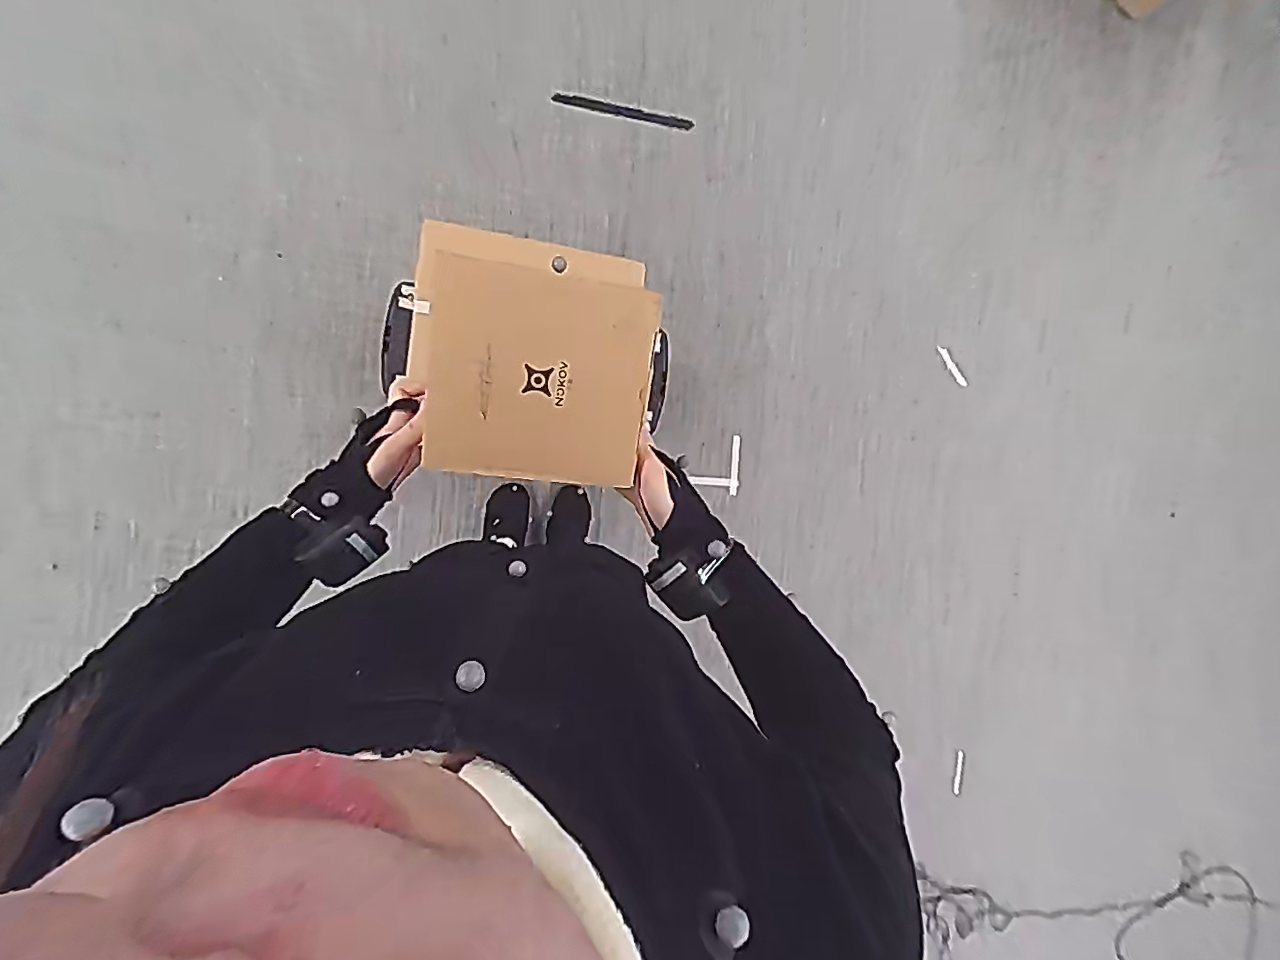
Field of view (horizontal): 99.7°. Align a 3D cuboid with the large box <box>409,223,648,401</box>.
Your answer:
[{"bbox_3d":[-0.218,-0.283,1.121,0.408,0.320,0.320,7,91,-10],"label":"large box"}]

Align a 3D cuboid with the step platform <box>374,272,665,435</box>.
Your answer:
[{"bbox_3d":[-0.282,-0.279,1.352,0.684,0.204,0.286,12,90,-10],"label":"step platform"}]

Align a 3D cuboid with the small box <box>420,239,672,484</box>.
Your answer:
[{"bbox_3d":[-0.088,-0.105,0.487,0.179,0.176,0.168,6,106,-14],"label":"small box"}]
